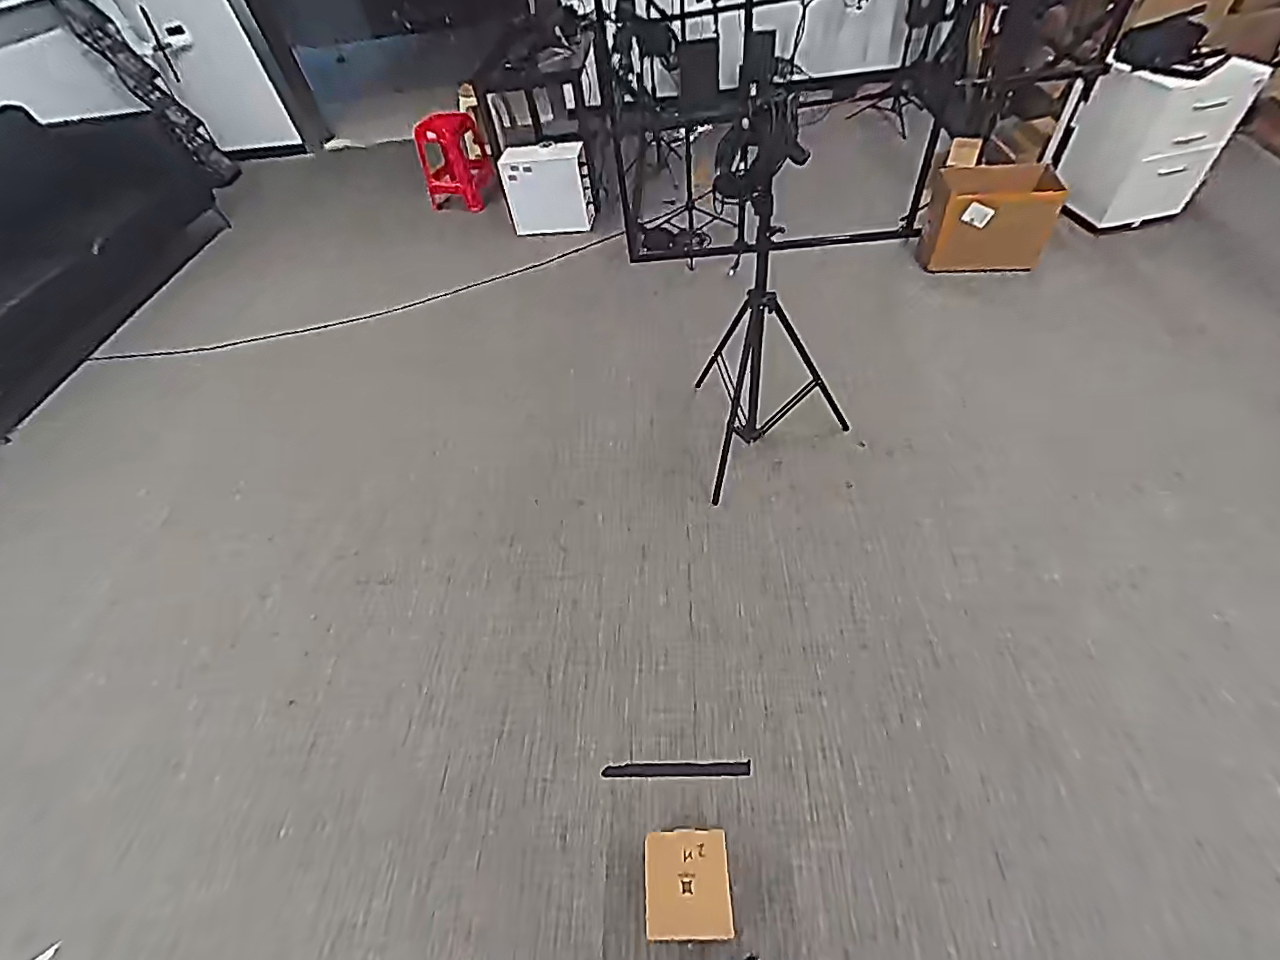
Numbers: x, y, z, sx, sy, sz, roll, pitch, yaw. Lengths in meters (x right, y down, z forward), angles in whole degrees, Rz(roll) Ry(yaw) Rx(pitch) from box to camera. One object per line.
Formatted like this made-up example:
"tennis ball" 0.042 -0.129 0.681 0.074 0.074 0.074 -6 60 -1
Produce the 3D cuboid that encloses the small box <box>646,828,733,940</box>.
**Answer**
"small box" 0.103 0.832 1.115 0.168 0.176 0.179 -4 50 5
